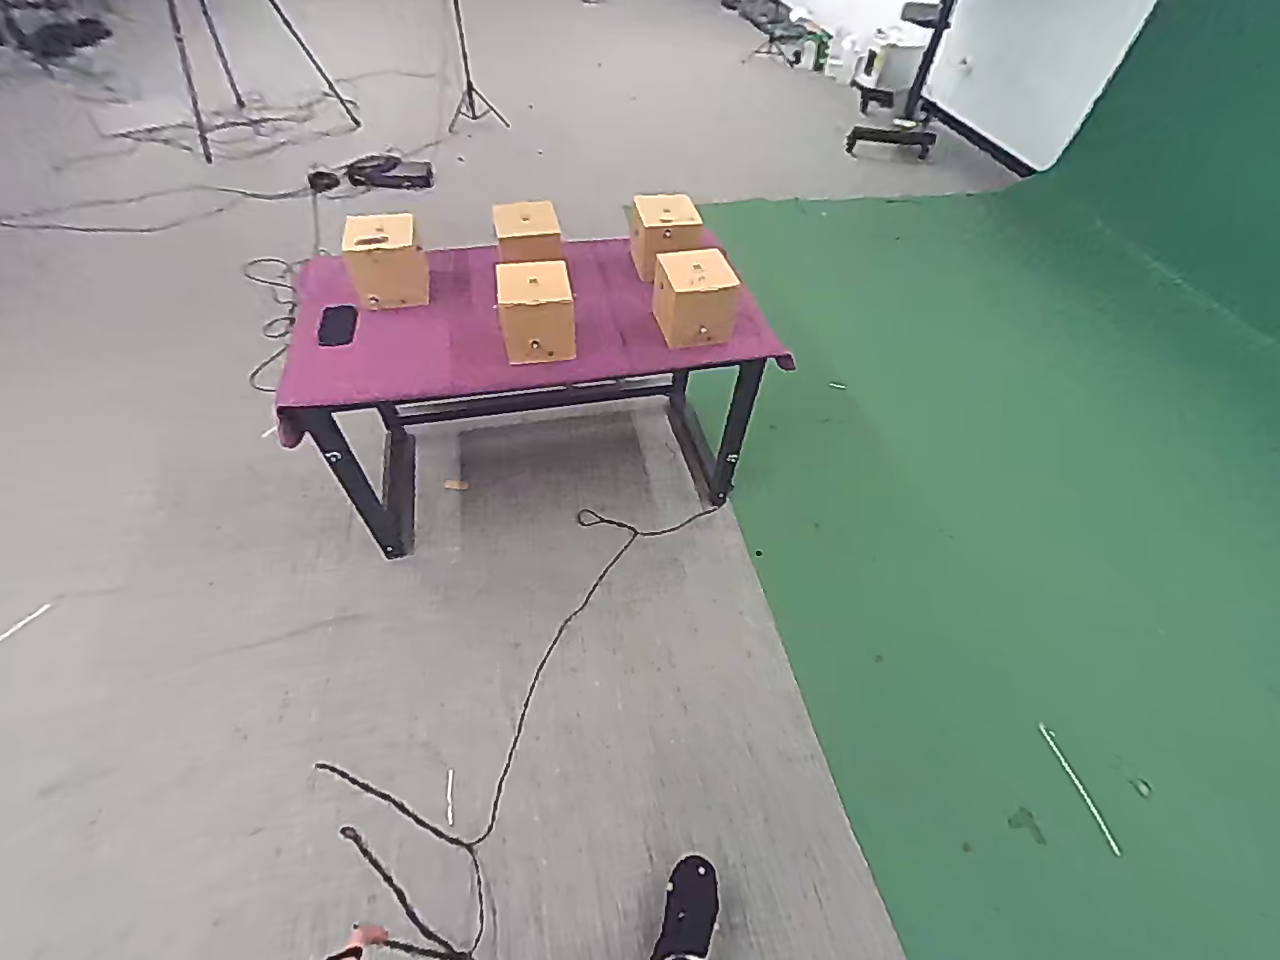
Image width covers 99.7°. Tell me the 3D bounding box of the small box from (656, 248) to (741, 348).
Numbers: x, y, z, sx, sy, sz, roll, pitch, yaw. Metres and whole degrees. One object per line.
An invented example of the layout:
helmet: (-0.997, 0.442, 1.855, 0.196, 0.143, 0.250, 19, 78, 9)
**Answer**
small box: (0.139, -0.462, 1.379, 0.168, 0.176, 0.179, -11, 53, -9)

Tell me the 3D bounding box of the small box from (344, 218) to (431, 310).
small box: (-0.655, -0.562, 1.424, 0.168, 0.176, 0.179, -9, 52, -10)

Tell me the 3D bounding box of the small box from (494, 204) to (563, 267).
small box: (-0.307, -0.639, 1.504, 0.168, 0.176, 0.179, -10, 54, -9)

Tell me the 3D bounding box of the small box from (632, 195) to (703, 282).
small box: (0.072, -0.699, 1.567, 0.168, 0.176, 0.179, -8, 52, -8)

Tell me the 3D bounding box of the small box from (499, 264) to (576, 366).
small box: (-0.249, -0.402, 1.318, 0.168, 0.176, 0.179, -8, 52, -9)
